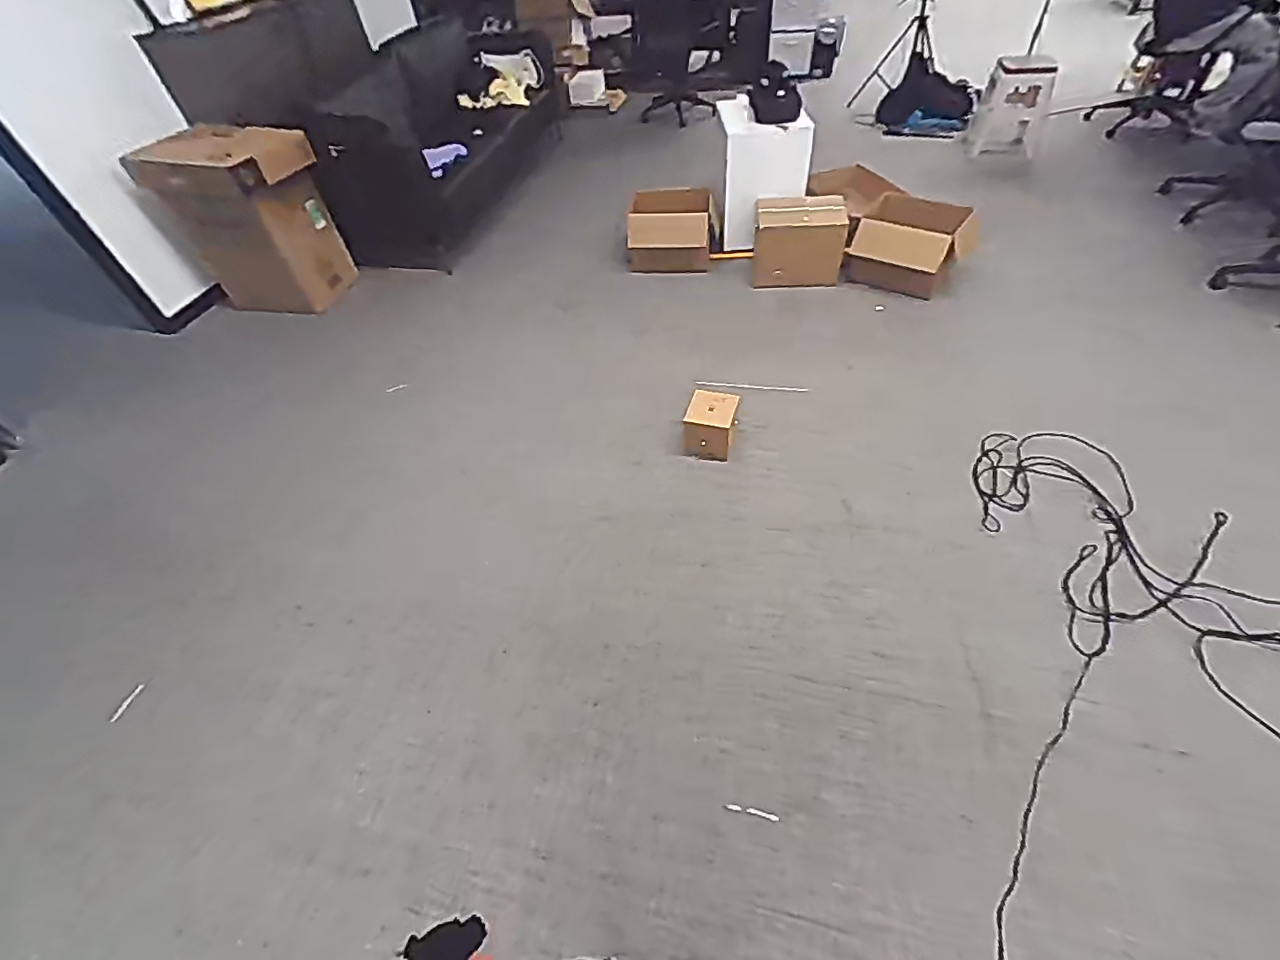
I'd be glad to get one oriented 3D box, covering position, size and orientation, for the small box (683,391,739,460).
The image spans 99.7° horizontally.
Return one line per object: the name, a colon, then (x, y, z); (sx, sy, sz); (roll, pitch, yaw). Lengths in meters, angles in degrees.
small box: (0.263, -0.196, 1.981); (0.168, 0.176, 0.179); (12, 52, 16)
